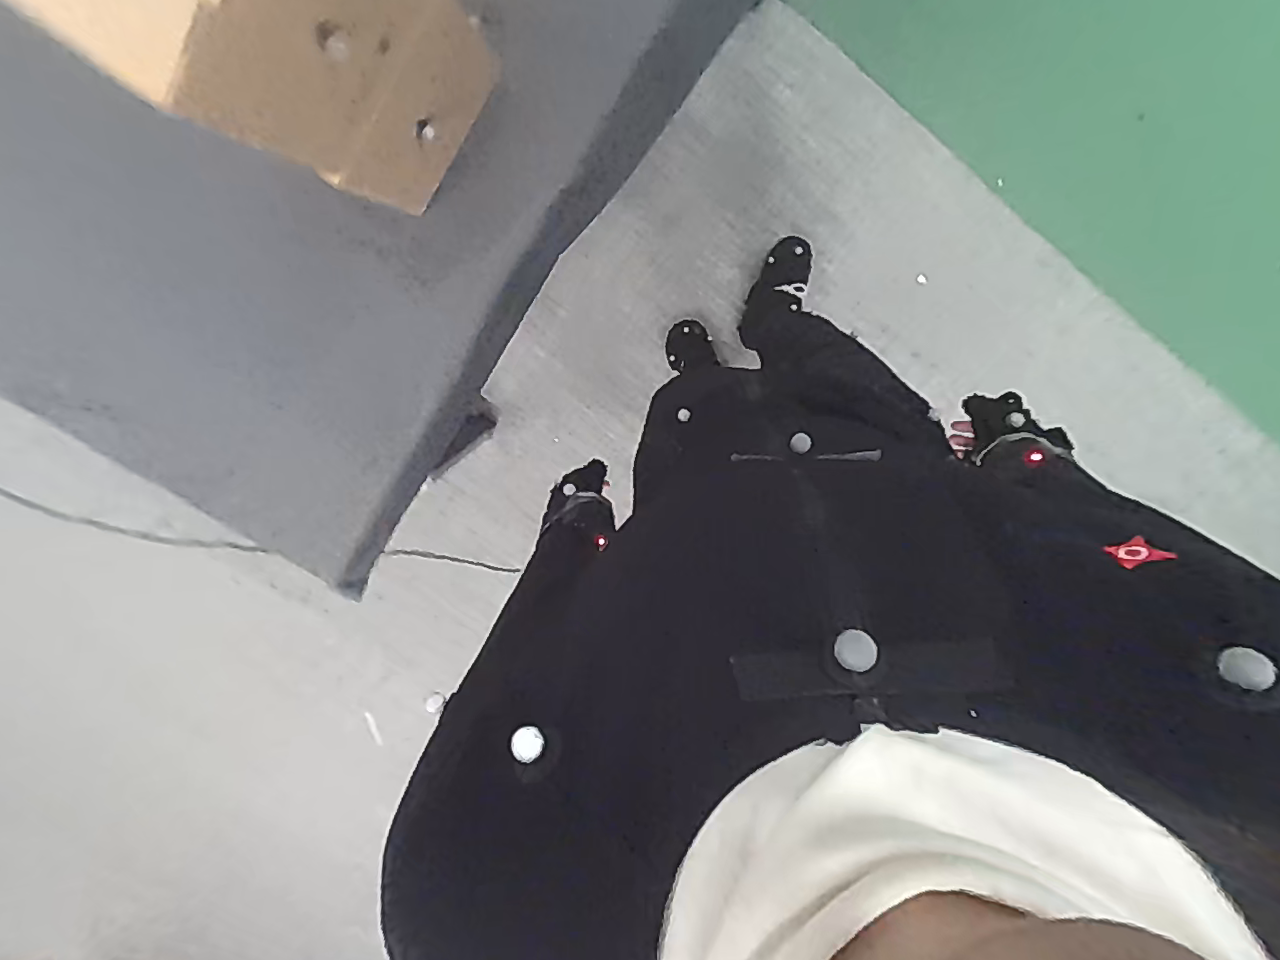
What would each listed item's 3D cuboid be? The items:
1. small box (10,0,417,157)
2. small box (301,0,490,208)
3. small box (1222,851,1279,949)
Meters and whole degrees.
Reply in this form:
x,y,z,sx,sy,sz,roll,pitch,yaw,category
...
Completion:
x,y,z,sx,sy,sz,roll,pitch,yaw,category
-0.271,-0.333,0.331,0.179,0.176,0.168,35,106,-9,small box
-0.257,-0.381,0.487,0.168,0.176,0.179,36,107,-9,small box
1.659,1.087,1.360,0.168,0.176,0.179,32,107,-6,small box
